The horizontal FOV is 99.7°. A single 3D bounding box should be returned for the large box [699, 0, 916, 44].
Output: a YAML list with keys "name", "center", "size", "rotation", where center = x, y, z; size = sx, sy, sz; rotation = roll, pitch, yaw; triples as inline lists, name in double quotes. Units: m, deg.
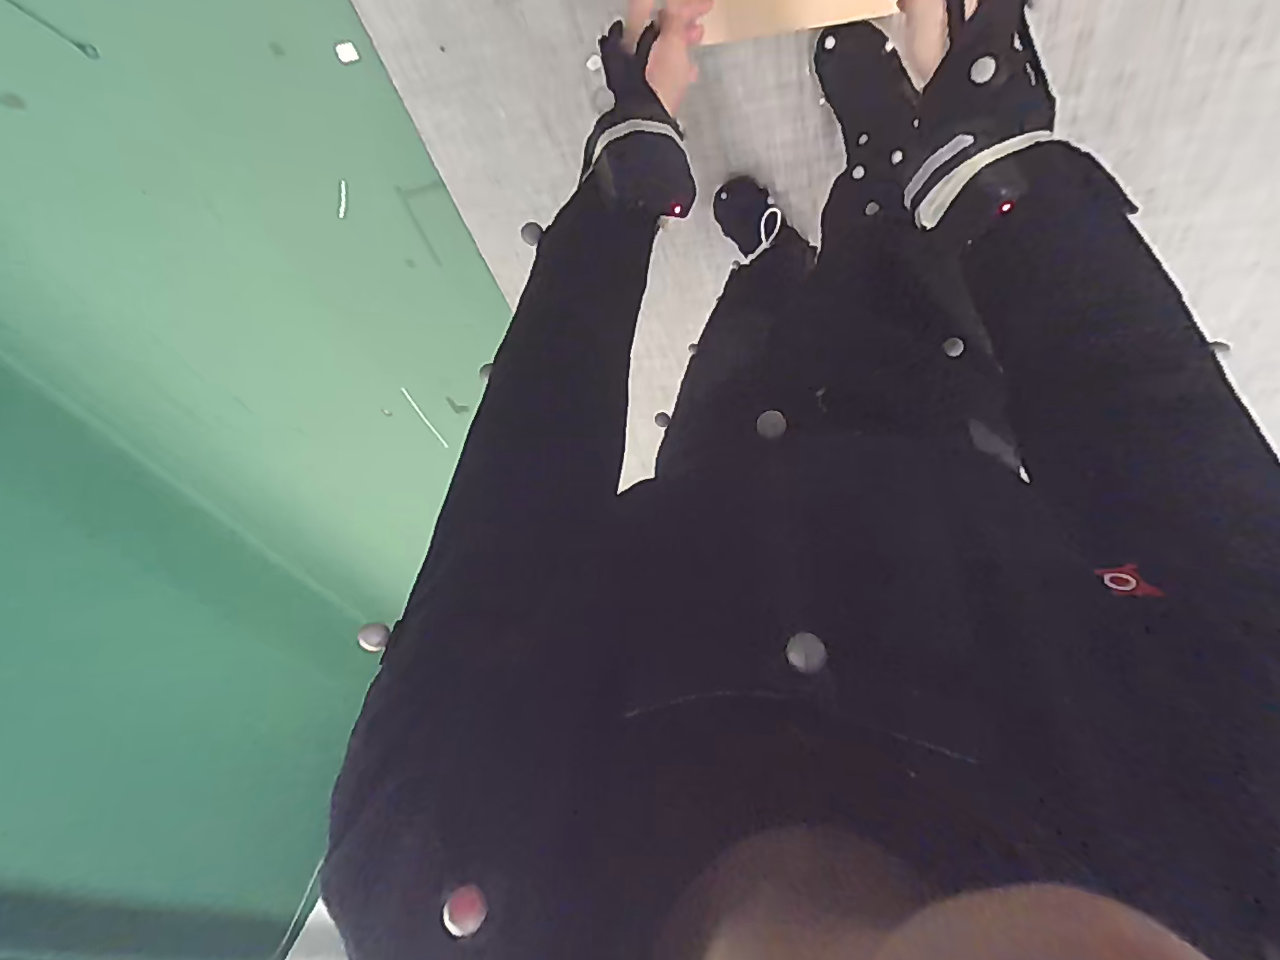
- name: "large box"
  center: [0.275, -0.756, 0.606]
  size: [0.408, 0.320, 0.320]
  rotation: [5, 141, 20]
